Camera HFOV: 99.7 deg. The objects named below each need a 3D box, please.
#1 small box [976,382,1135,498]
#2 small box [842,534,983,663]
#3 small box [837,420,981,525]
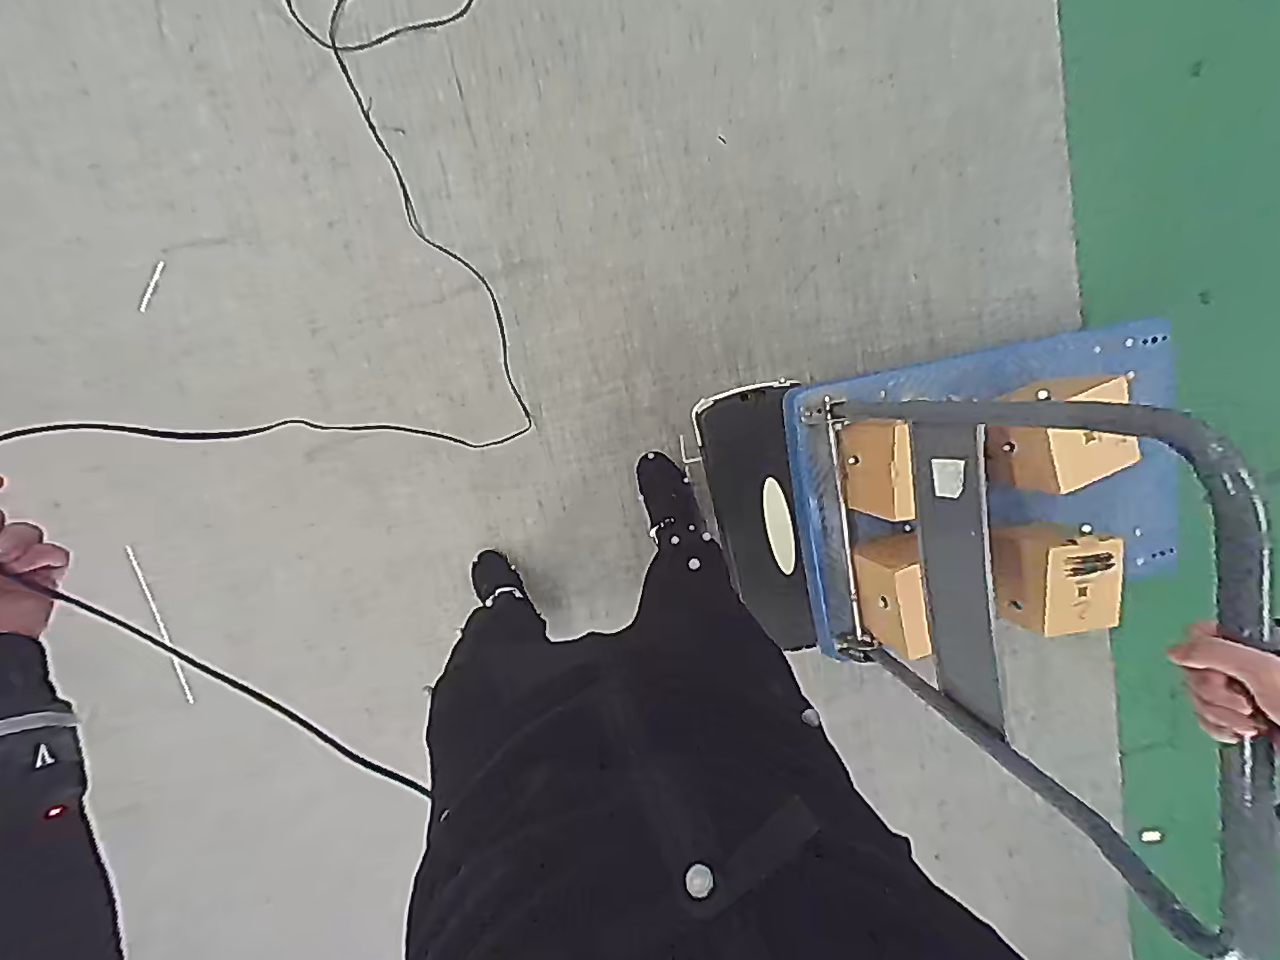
[{"bbox_3d":[0.782,-0.079,1.038,0.179,0.176,0.168,-21,101,-7],"label":"small box"},{"bbox_3d":[0.507,0.211,1.027,0.168,0.176,0.179,-15,100,-7],"label":"small box"},{"bbox_3d":[0.486,-0.022,0.995,0.179,0.176,0.168,-5,99,-9],"label":"small box"}]
